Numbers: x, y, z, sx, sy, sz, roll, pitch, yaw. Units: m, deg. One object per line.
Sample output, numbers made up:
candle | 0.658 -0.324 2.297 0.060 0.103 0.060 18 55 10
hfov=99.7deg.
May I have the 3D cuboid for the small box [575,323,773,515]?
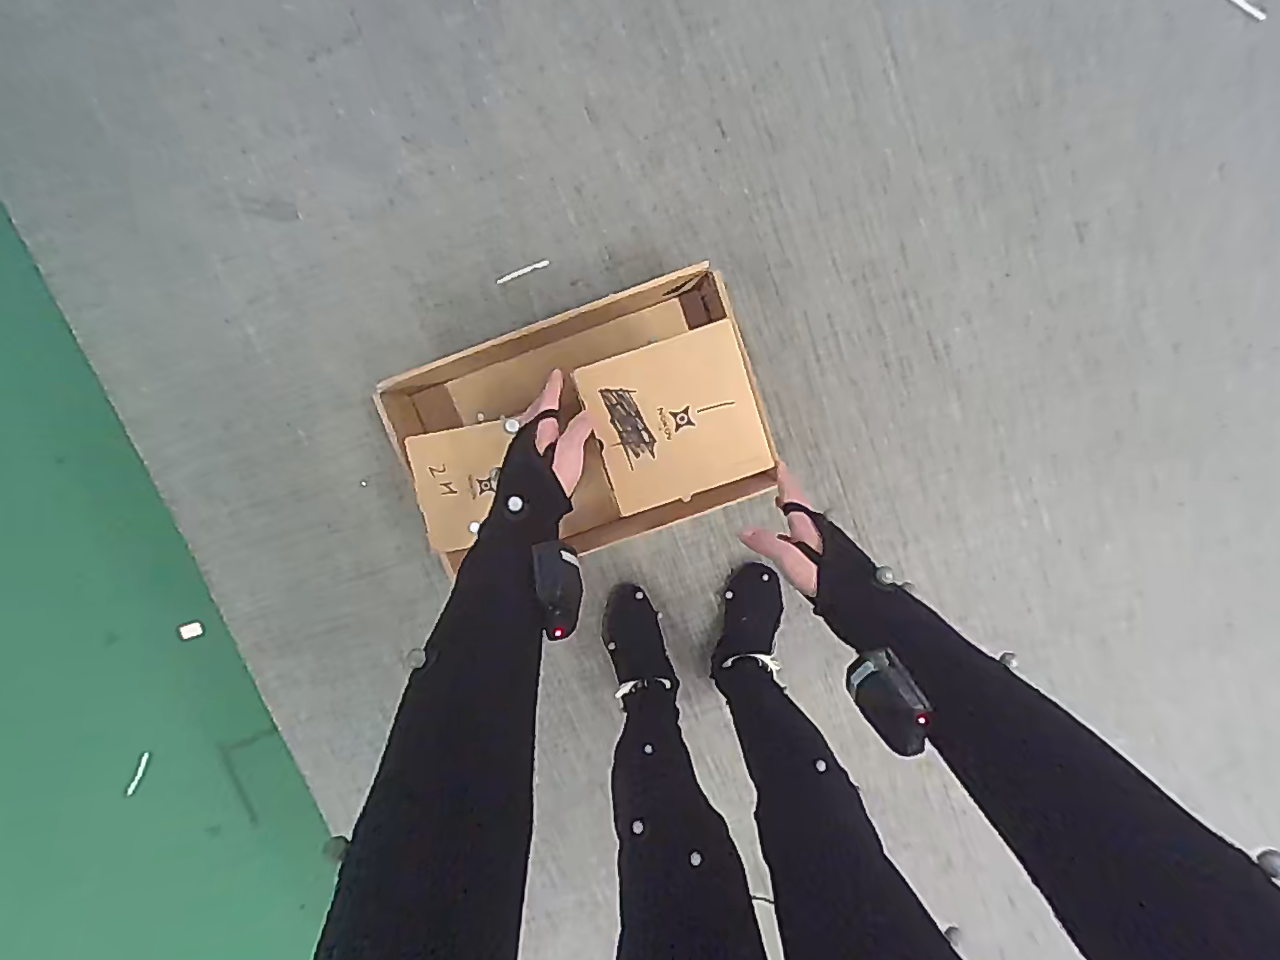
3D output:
small box | 0.038 -0.071 0.648 0.179 0.176 0.168 -18 98 2
